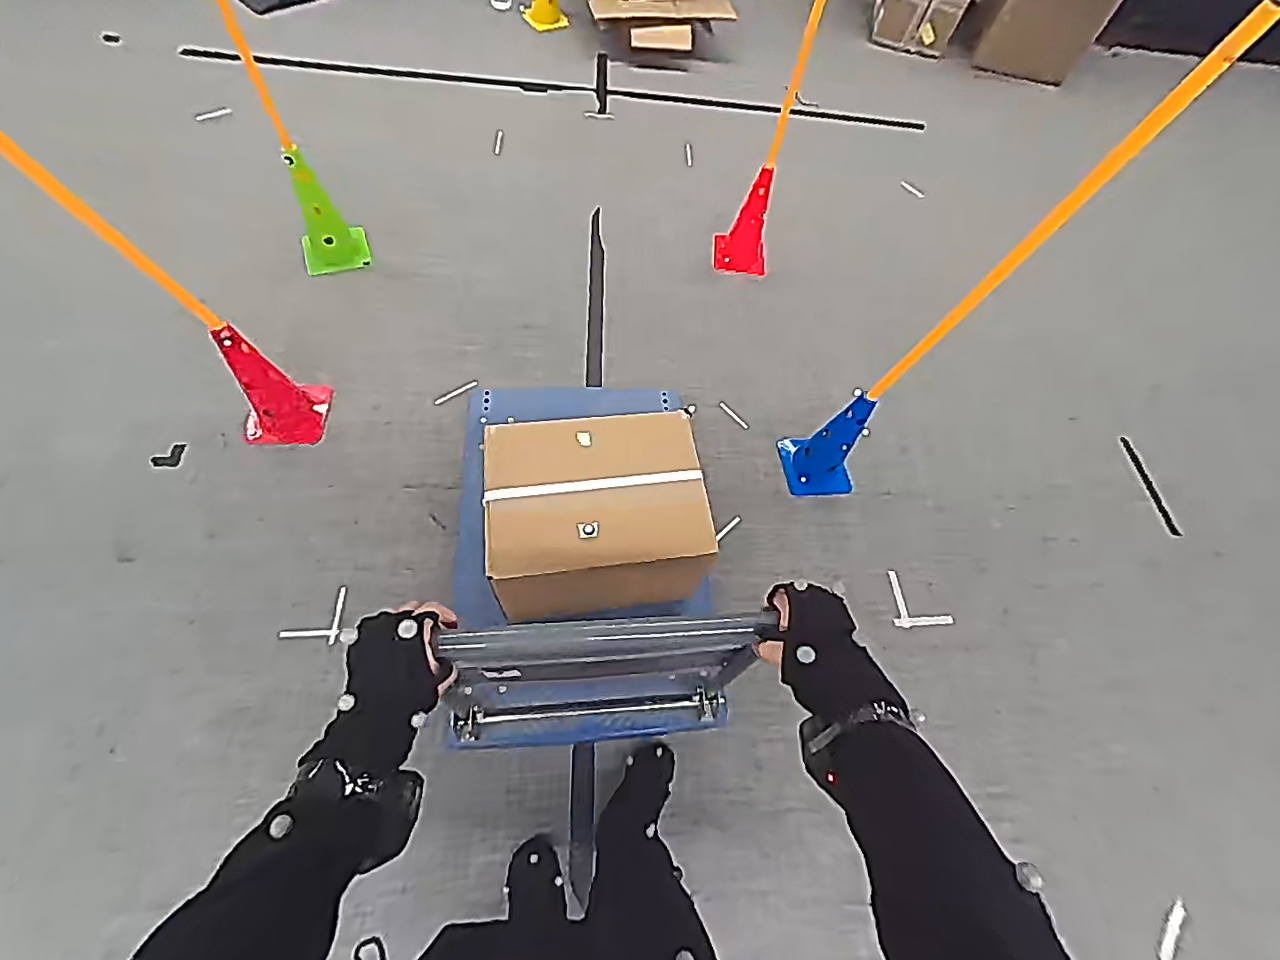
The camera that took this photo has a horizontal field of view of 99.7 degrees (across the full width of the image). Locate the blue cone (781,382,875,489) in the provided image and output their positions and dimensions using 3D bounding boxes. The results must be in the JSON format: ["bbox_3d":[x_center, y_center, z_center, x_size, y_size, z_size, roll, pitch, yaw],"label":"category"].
[{"bbox_3d":[0.557,-0.136,1.517,0.193,0.380,0.192,-2,62,-9],"label":"blue cone"}]

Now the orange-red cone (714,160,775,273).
[{"bbox_3d":[0.402,-0.946,1.904,0.199,0.360,0.198,8,63,-5],"label":"orange-red cone"}]
